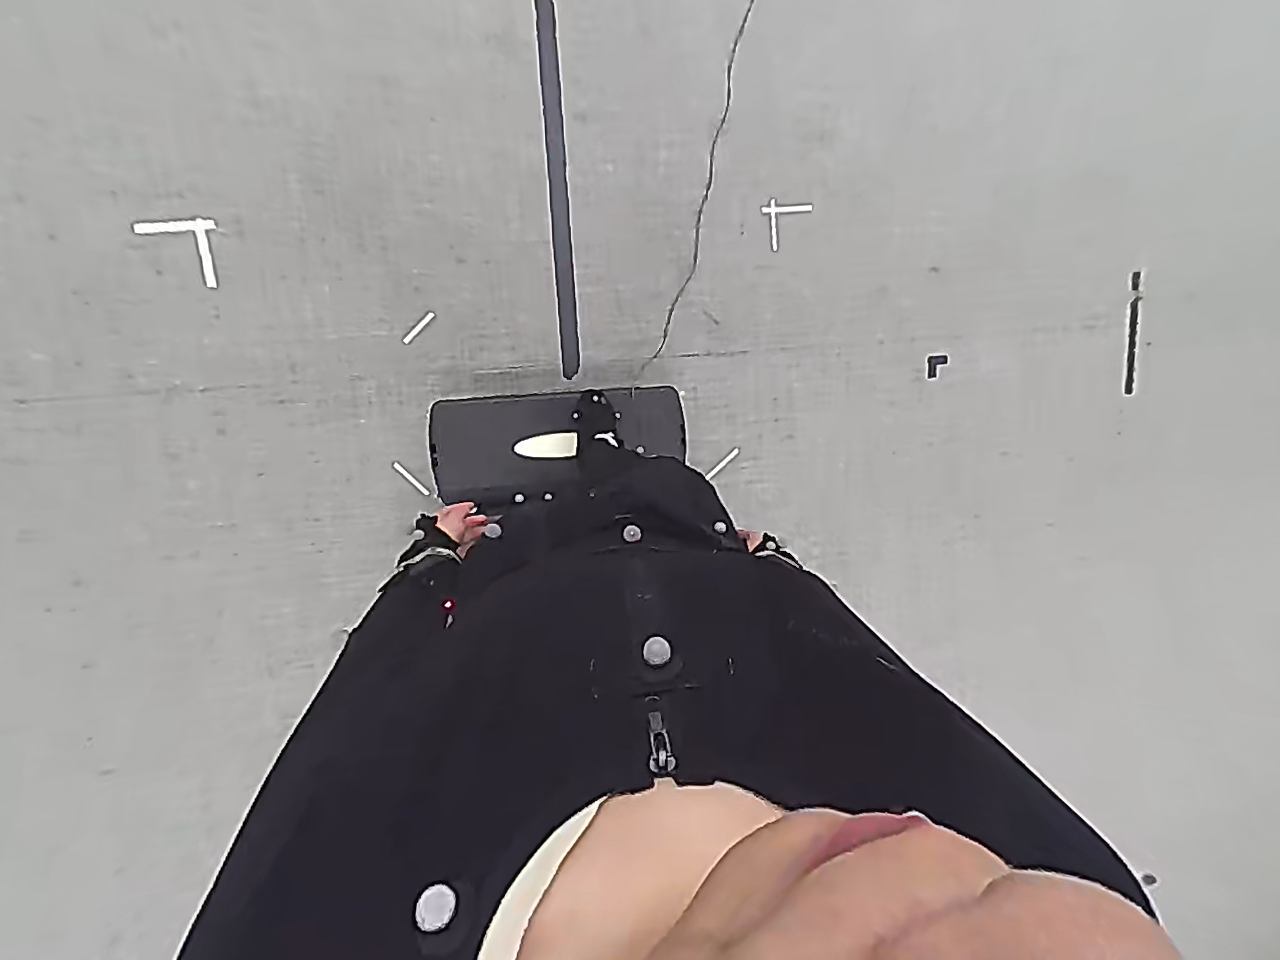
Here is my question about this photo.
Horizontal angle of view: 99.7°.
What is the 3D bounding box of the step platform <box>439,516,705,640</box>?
[{"bbox_3d":[-0.171,0.252,1.434,0.684,0.204,0.286,0,94,-8],"label":"step platform"}]
